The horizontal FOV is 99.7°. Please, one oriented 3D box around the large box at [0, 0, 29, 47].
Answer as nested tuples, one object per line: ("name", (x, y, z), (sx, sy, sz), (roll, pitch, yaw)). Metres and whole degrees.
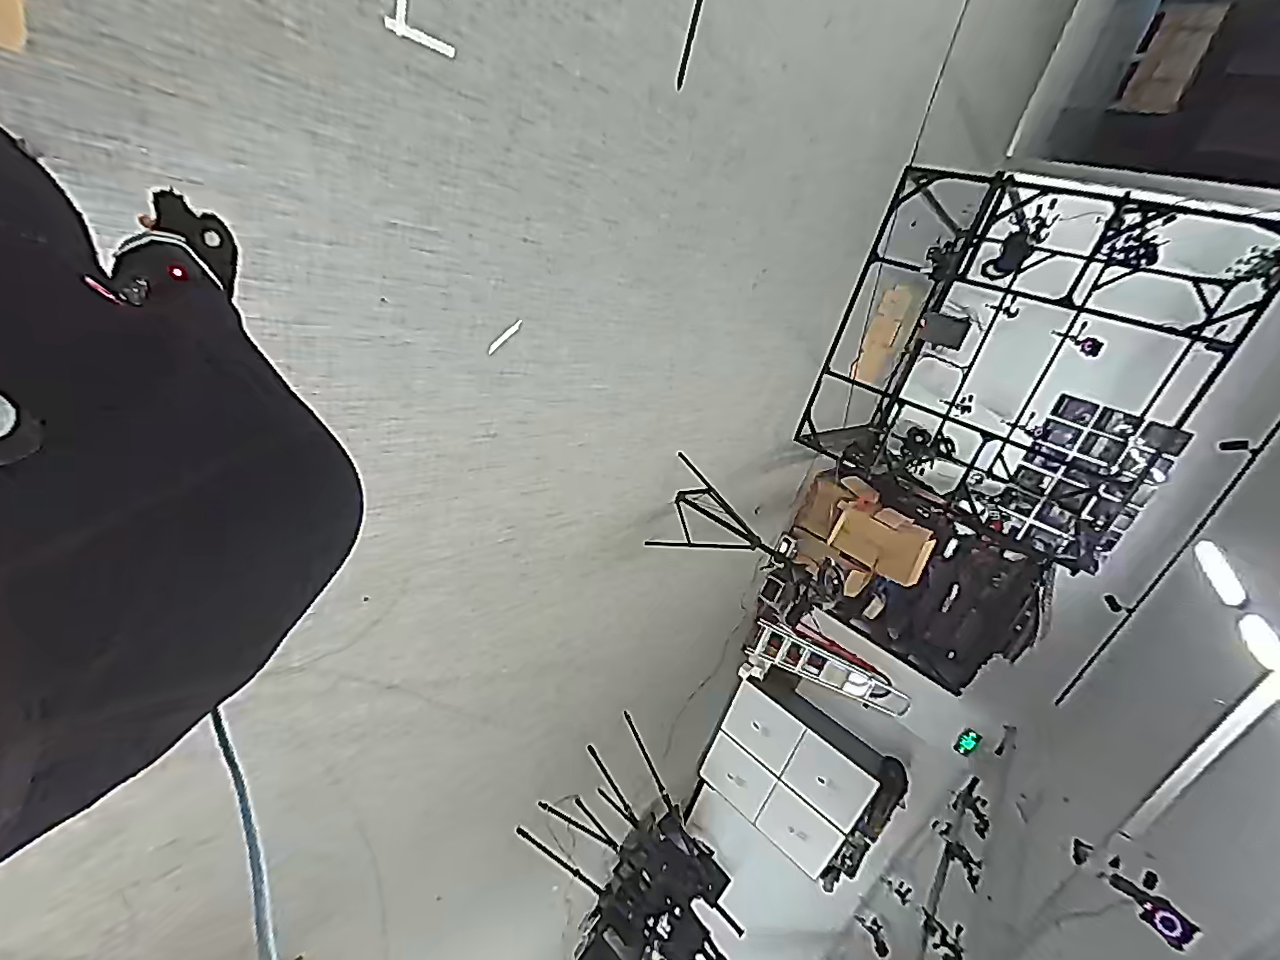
("large box", (-0.982, -0.744, 0.573), (0.408, 0.320, 0.320), (-8, 123, -54))
